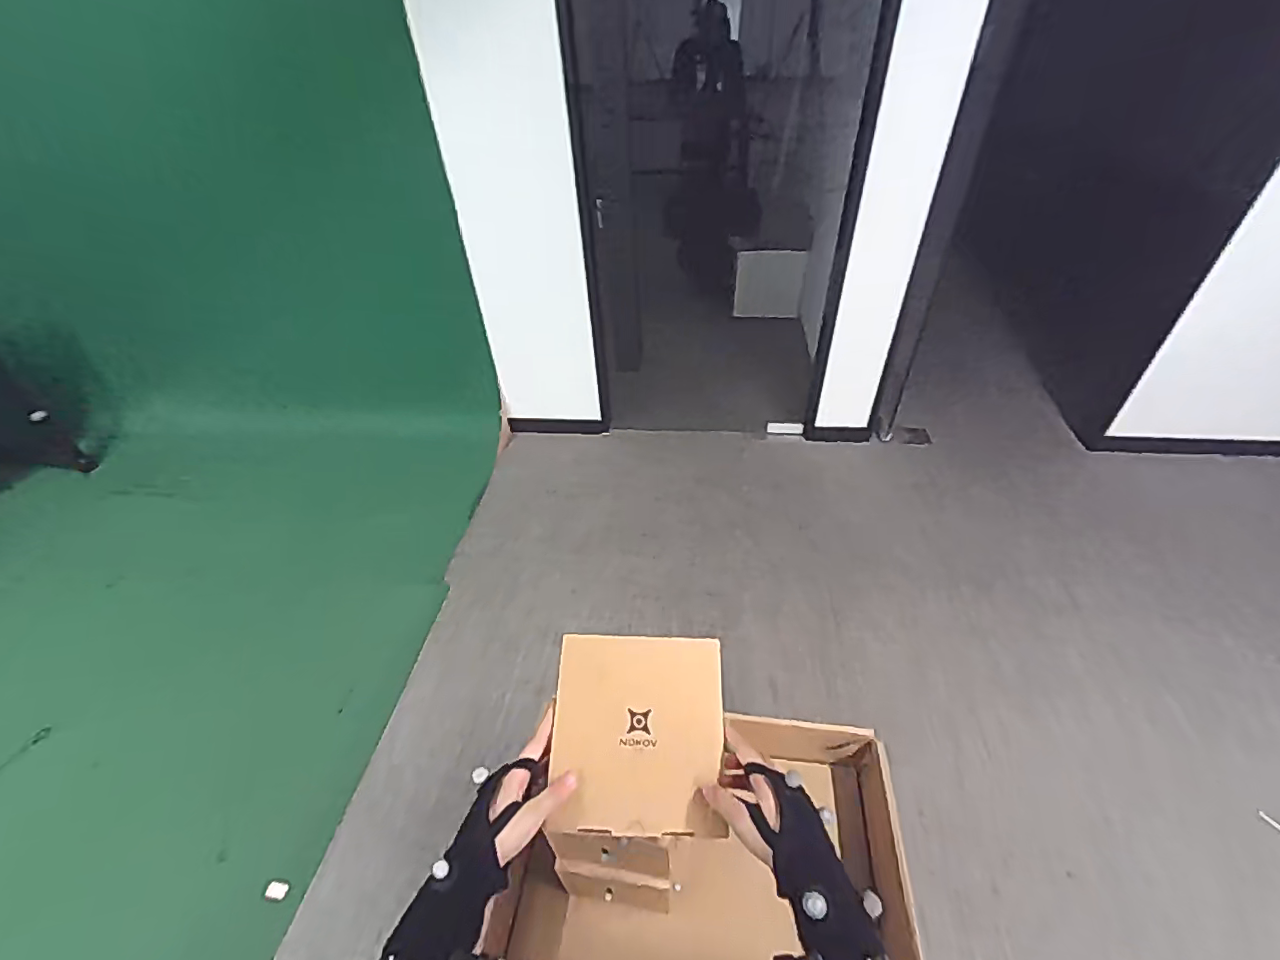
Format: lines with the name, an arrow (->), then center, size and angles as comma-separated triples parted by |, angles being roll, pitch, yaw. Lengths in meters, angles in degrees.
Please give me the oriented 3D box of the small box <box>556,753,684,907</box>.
small box -> -0.023, 0.583, 0.899 | 0.179, 0.176, 0.168 | 4, 42, 9
